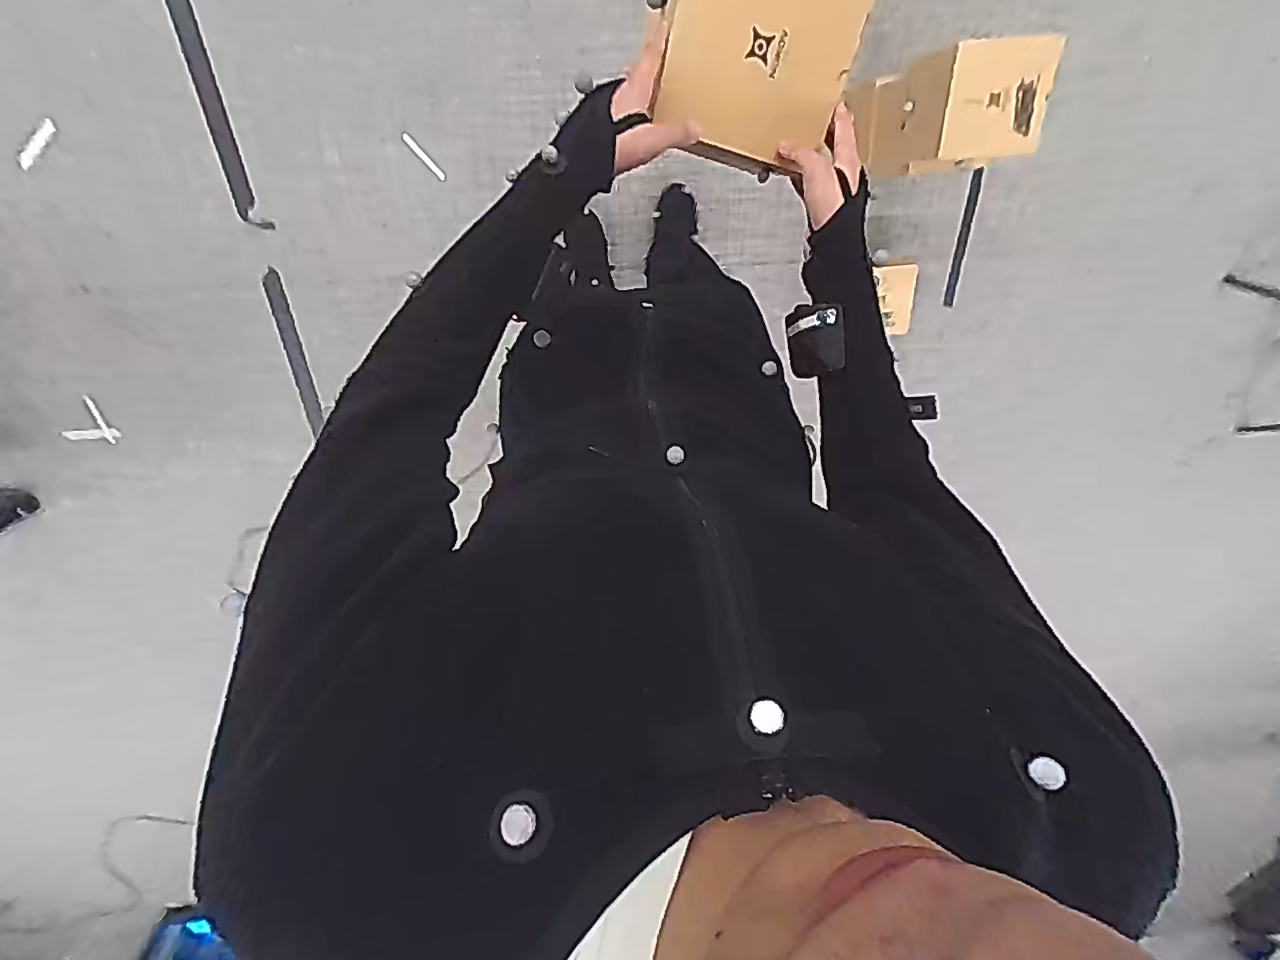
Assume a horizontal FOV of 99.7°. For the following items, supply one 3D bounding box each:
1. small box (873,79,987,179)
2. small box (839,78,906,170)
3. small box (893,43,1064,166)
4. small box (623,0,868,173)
[{"bbox_3d":[0.599,-0.726,1.112,0.168,0.176,0.179,-7,120,0],"label":"small box"},{"bbox_3d":[0.585,-0.819,1.247,0.179,0.176,0.168,-6,120,0],"label":"small box"},{"bbox_3d":[0.585,-0.657,0.961,0.179,0.176,0.168,-3,119,-1],"label":"small box"},{"bbox_3d":[0.090,-0.423,0.545,0.179,0.176,0.168,7,119,-17],"label":"small box"}]
